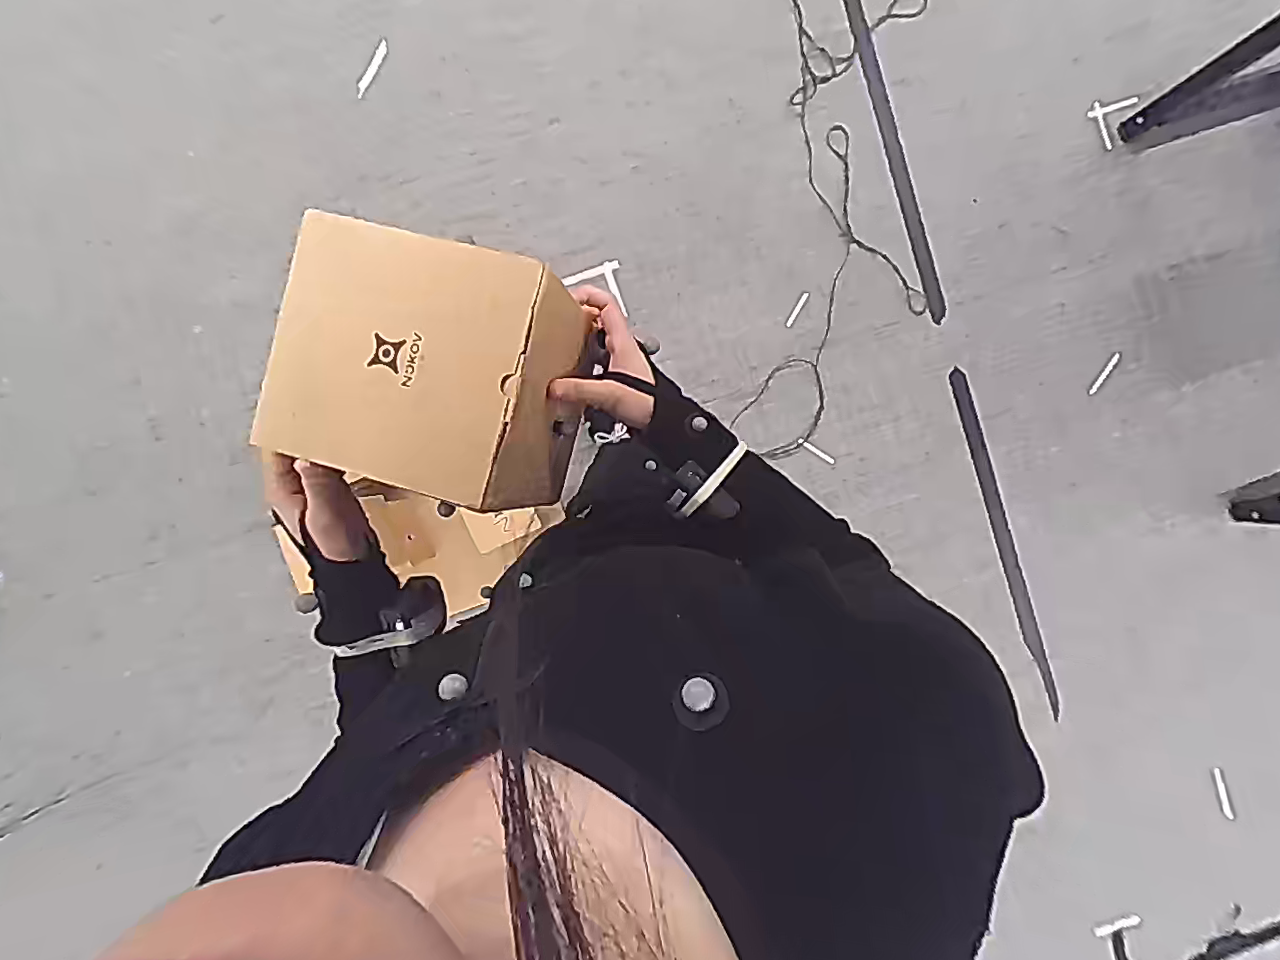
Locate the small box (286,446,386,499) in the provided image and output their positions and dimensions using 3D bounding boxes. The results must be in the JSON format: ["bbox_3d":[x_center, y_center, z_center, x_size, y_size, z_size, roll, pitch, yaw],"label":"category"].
[{"bbox_3d":[-0.747,-0.065,1.365,0.168,0.176,0.179,-24,93,-1],"label":"small box"}]

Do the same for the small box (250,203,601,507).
[{"bbox_3d":[-0.146,-0.081,0.427,0.179,0.176,0.168,16,92,6],"label":"small box"}]

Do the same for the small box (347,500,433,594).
[{"bbox_3d":[-0.654,0.161,1.370,0.168,0.176,0.179,-24,93,-2],"label":"small box"}]

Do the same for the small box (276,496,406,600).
[{"bbox_3d":[-0.655,0.142,1.204,0.168,0.176,0.179,-20,92,-1],"label":"small box"}]
